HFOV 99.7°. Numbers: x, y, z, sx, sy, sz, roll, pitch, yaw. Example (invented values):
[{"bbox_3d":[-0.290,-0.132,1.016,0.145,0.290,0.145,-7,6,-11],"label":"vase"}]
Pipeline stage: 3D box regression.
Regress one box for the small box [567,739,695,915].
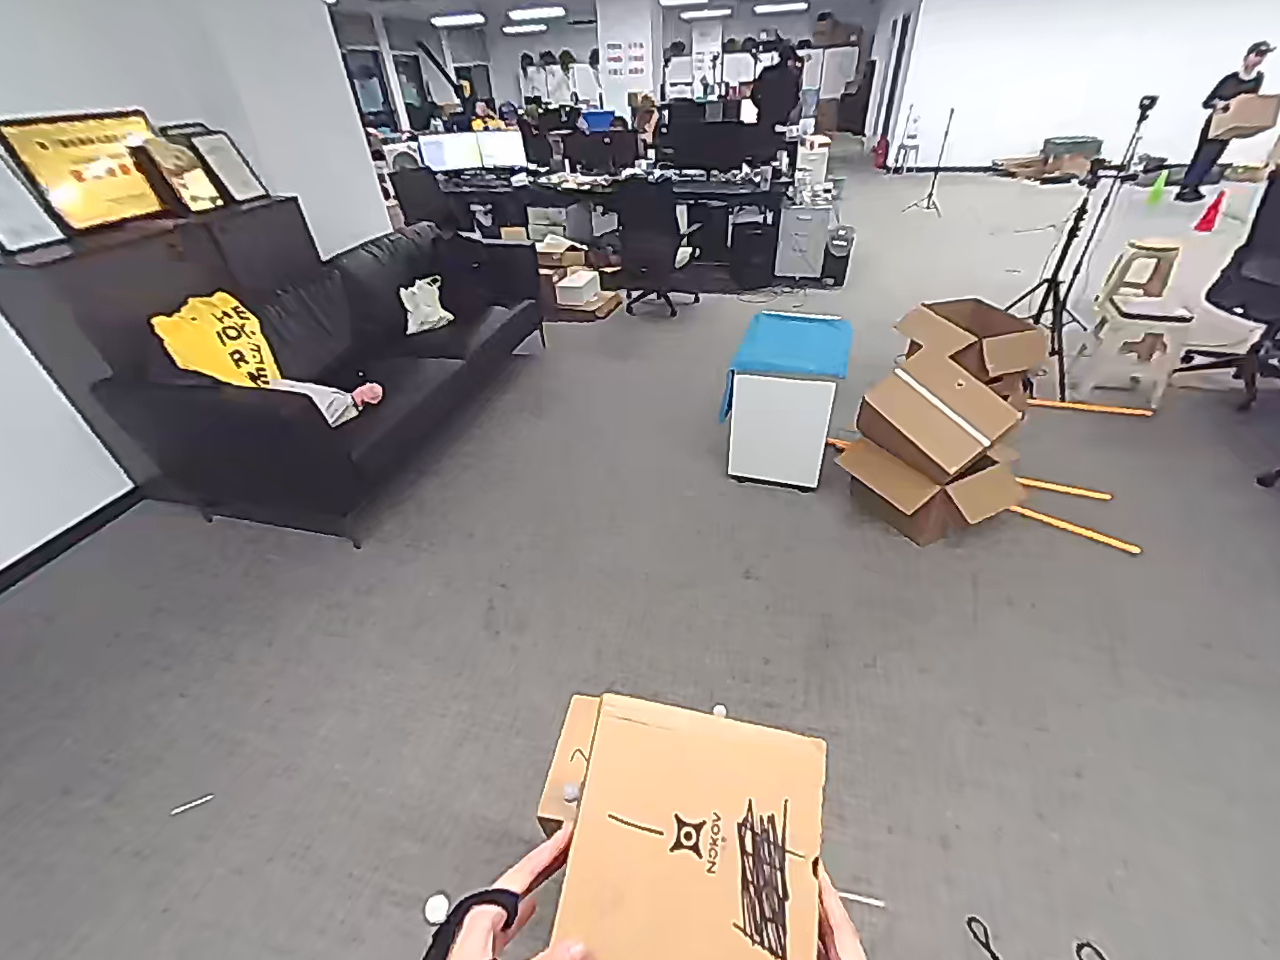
[{"bbox_3d":[-0.004,0.553,0.868,0.168,0.176,0.179,4,39,13],"label":"small box"}]
